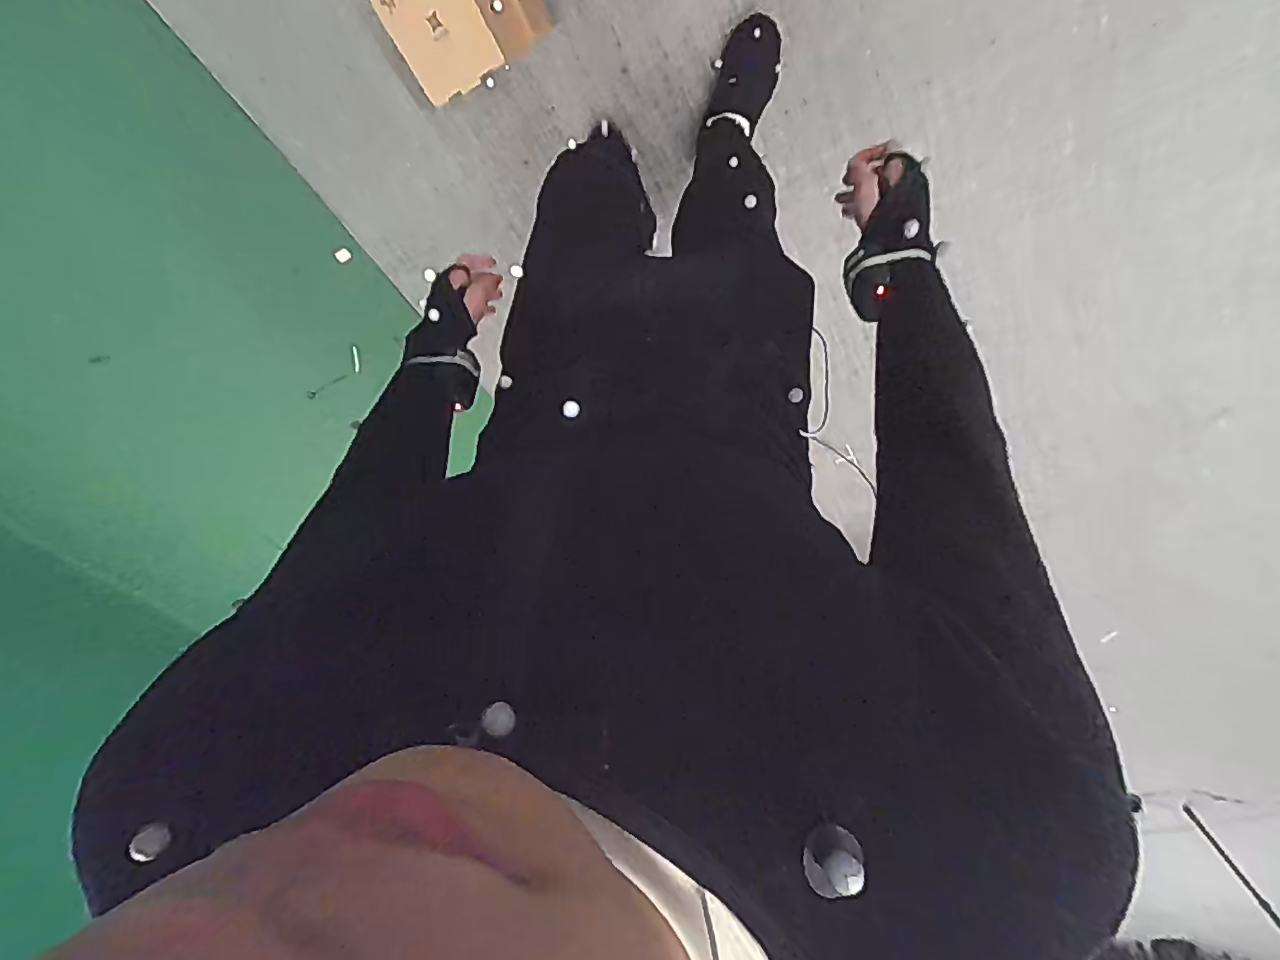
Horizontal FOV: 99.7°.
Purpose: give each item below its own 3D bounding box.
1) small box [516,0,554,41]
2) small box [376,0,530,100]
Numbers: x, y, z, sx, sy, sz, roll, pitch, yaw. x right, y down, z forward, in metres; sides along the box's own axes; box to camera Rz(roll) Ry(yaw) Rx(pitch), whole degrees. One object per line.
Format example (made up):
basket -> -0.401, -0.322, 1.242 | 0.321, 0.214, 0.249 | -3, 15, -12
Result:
small box -> -0.292, -0.933, 1.050 | 0.179, 0.176, 0.168 | -13, 132, 23
small box -> -0.318, -0.814, 0.941 | 0.168, 0.176, 0.179 | -13, 133, 24
